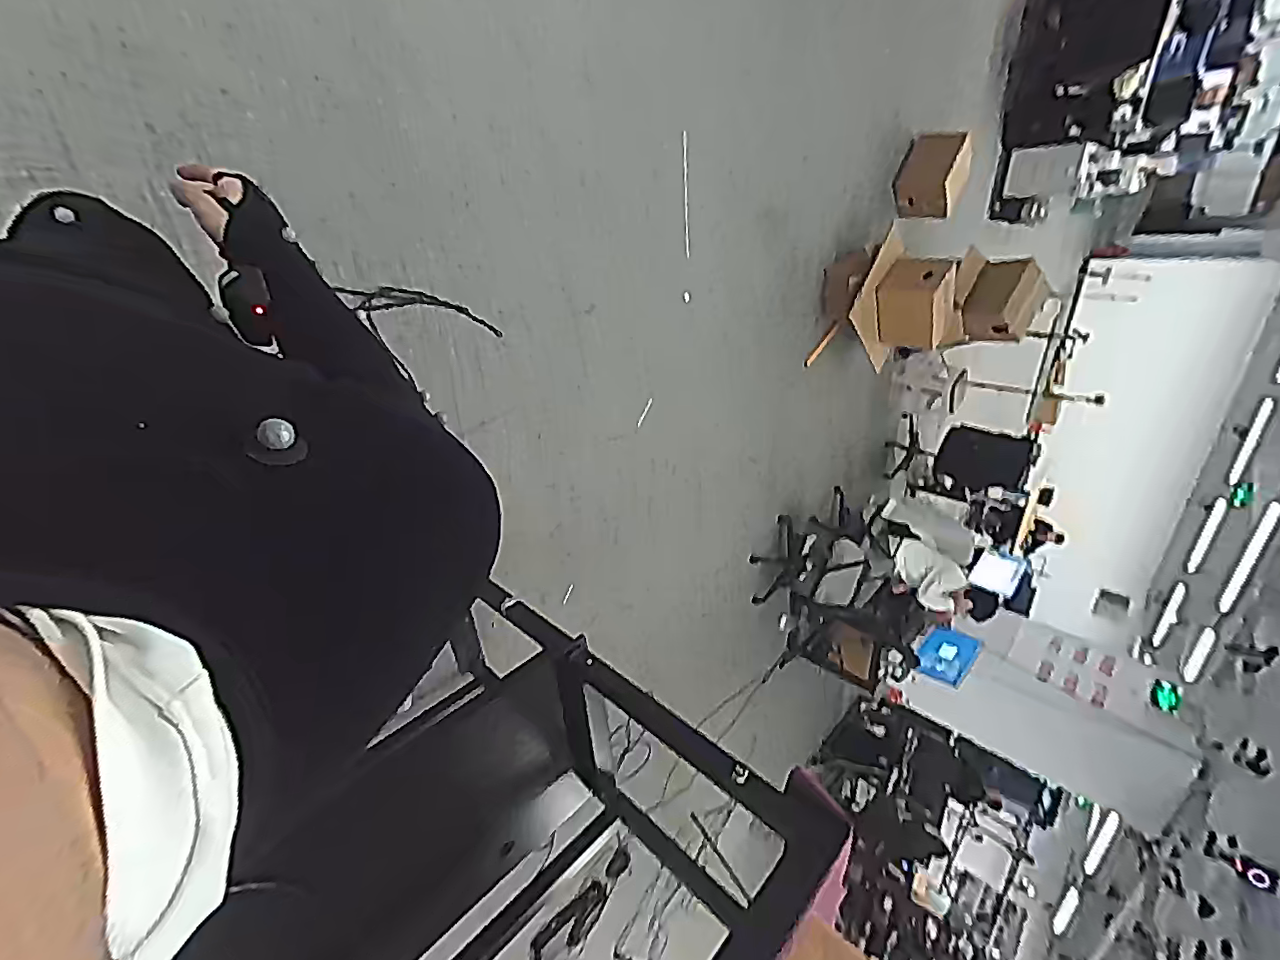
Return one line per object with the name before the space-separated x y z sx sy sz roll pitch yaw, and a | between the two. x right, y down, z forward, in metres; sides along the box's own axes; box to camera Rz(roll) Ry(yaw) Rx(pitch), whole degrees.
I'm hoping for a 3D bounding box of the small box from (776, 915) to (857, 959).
small box | 0.285 0.854 0.854 0.179 0.176 0.168 -29 127 -35
